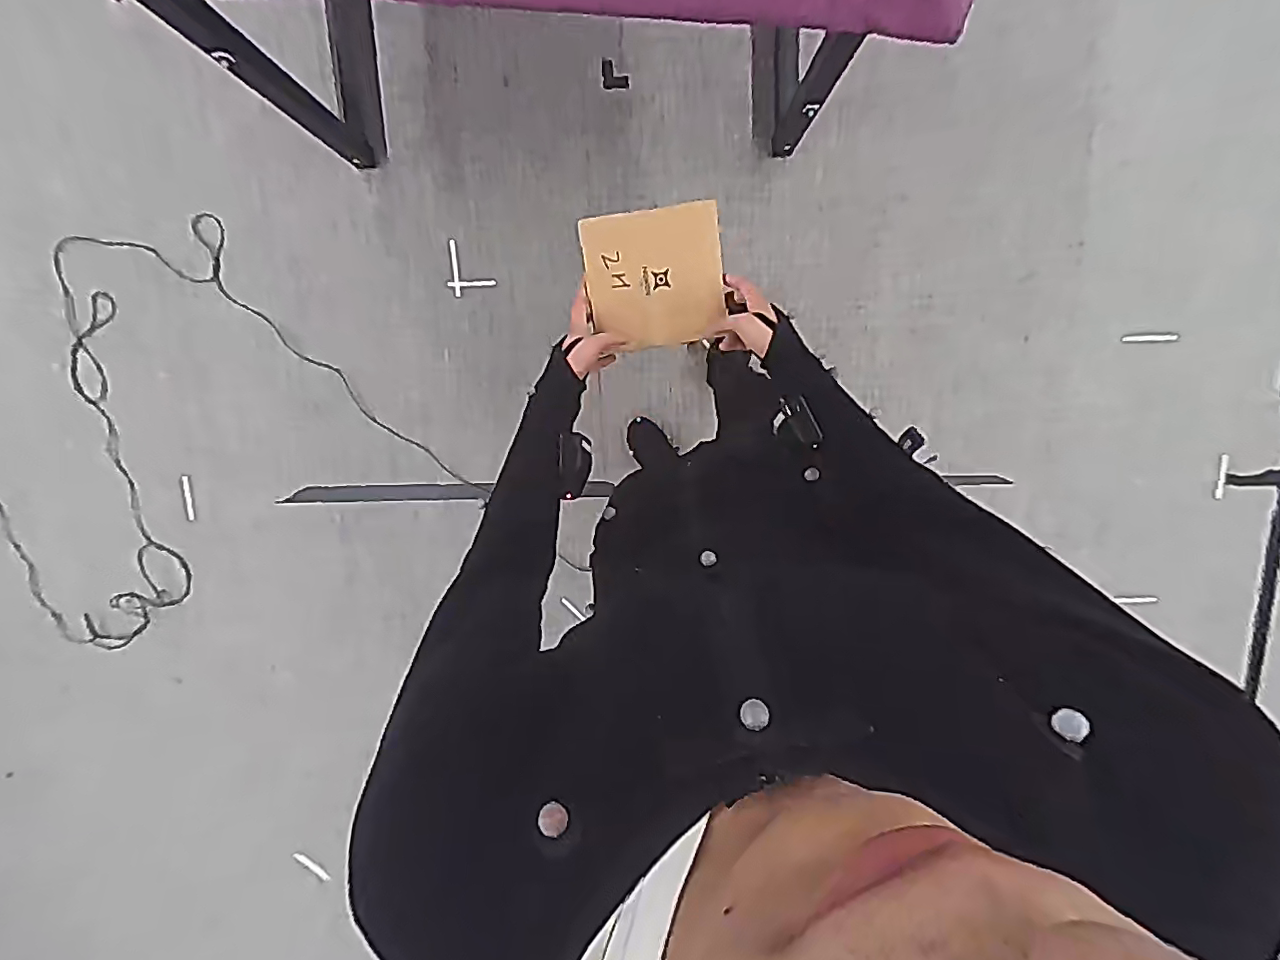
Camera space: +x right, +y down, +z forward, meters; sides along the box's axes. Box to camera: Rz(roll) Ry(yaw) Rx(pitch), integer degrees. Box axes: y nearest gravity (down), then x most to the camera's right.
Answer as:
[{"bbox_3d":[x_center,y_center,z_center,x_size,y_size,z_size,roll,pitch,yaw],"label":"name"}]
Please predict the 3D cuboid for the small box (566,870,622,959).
[{"bbox_3d":[-0.143,1.407,1.744,0.168,0.176,0.179,-2,97,0],"label":"small box"}]

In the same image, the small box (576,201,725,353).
[{"bbox_3d":[0.014,-0.277,0.761,0.179,0.176,0.168,-8,105,2],"label":"small box"}]
